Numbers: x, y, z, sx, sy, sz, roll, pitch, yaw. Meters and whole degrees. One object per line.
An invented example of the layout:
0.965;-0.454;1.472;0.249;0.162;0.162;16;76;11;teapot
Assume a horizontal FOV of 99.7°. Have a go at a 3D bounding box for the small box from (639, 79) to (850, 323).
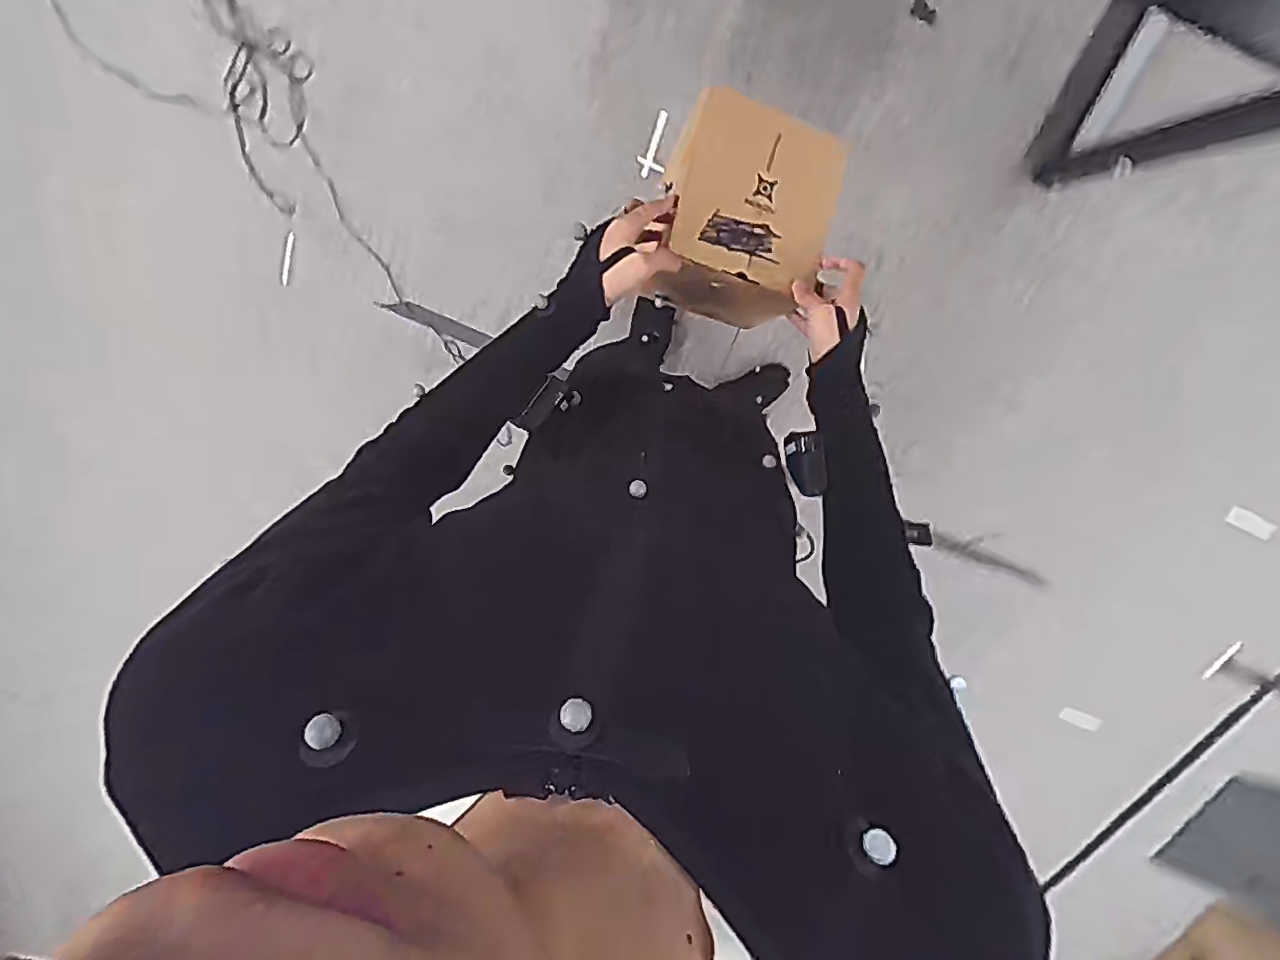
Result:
0.106;-0.300;0.629;0.168;0.176;0.179;15;92;-14;small box
